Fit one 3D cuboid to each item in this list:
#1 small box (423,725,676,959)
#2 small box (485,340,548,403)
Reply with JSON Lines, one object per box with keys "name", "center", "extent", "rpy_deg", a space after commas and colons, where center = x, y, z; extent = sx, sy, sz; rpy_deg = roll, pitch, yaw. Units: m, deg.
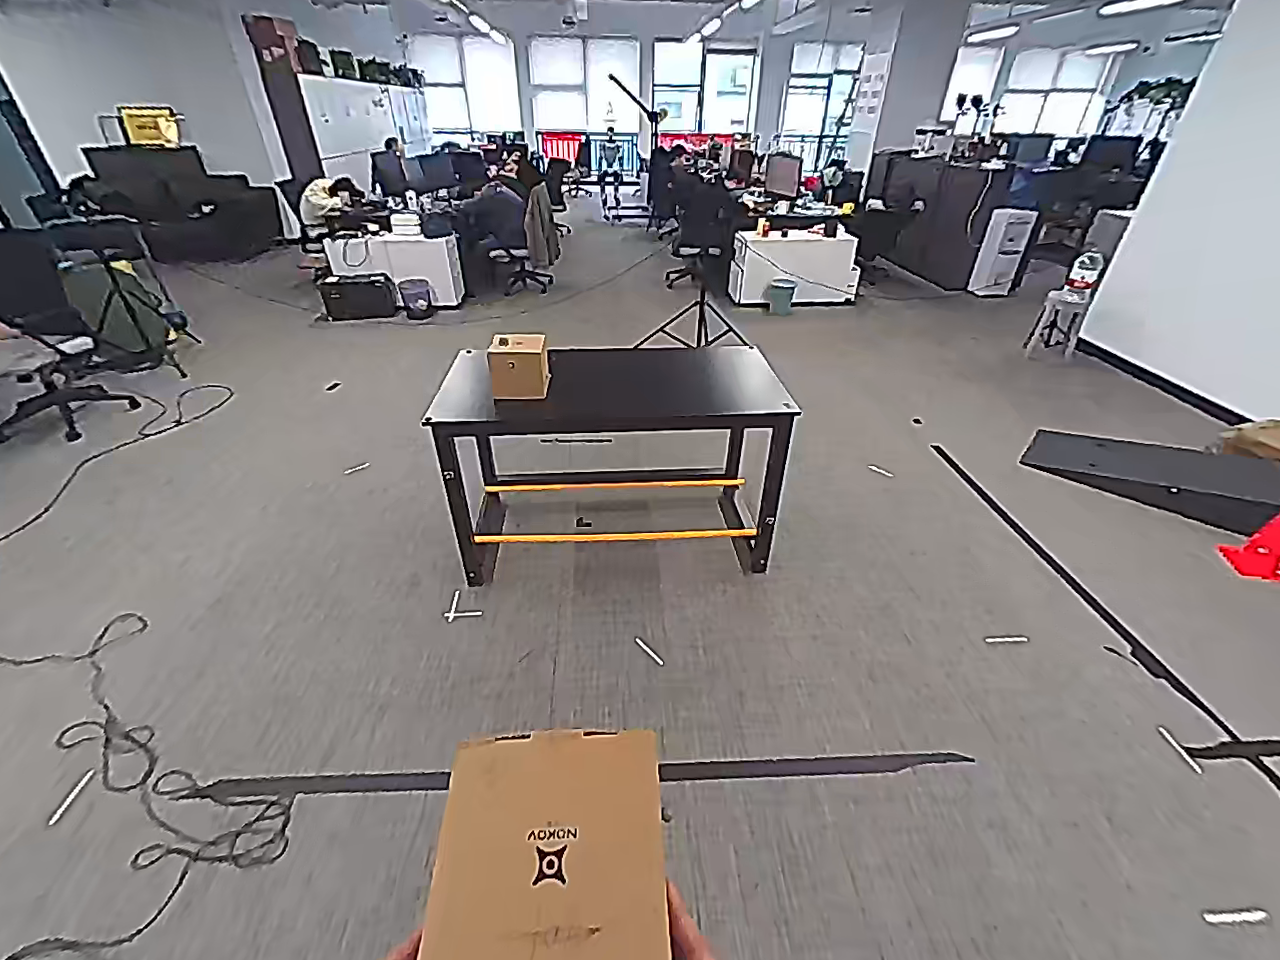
{"name": "small box", "center": [-0.062, 0.327, 0.446], "extent": [0.168, 0.176, 0.179], "rpy_deg": [-2, 43, -2]}
{"name": "small box", "center": [-0.417, -0.370, 1.848], "extent": [0.179, 0.176, 0.168], "rpy_deg": [-1, 34, -3]}
